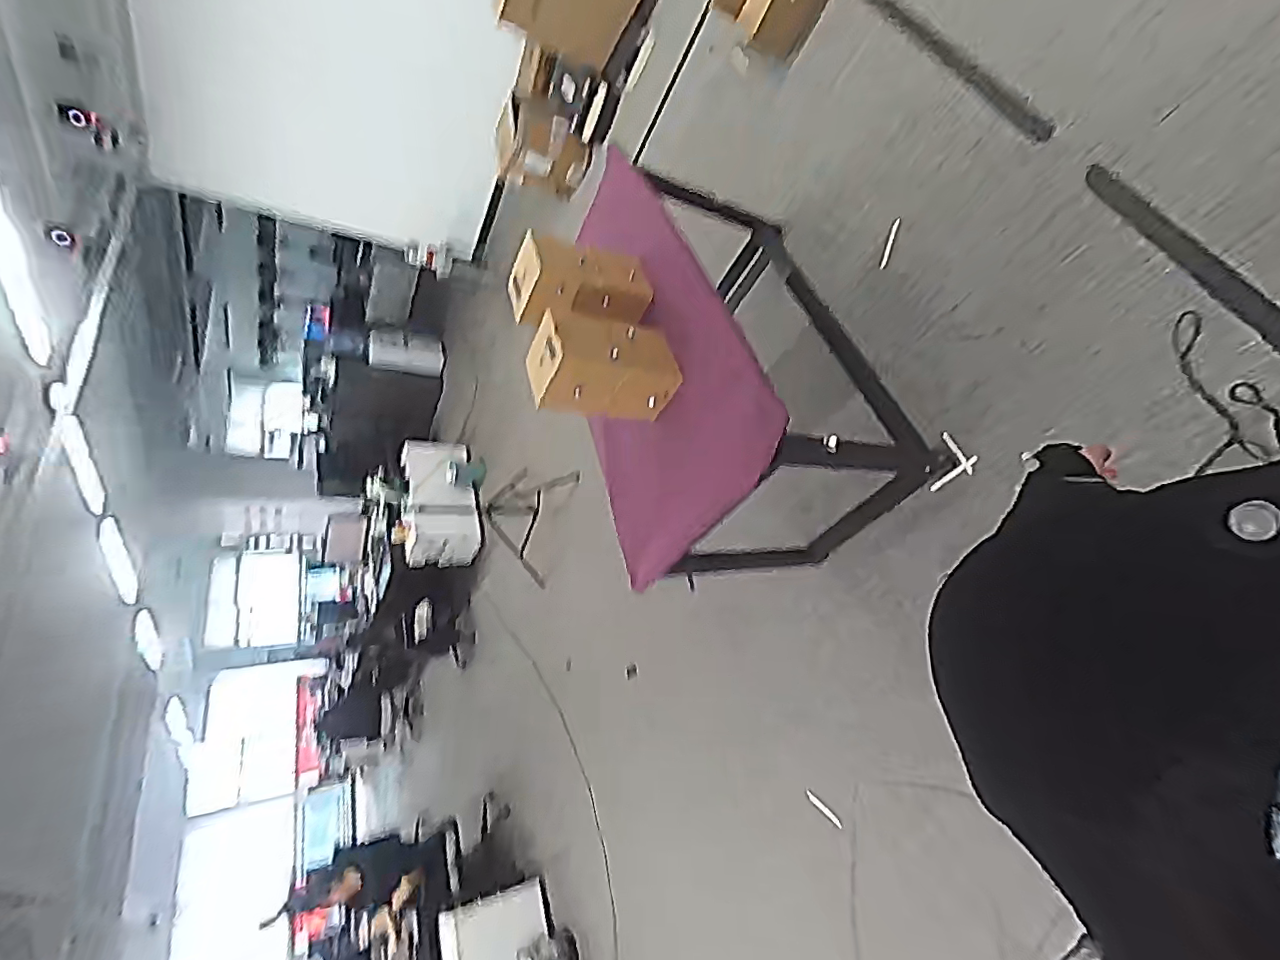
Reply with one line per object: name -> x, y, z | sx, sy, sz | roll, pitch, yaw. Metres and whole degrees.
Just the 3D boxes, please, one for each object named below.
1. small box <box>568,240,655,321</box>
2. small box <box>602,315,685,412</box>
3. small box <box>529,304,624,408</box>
small box -> -0.082, -0.536, 1.531 | 0.179, 0.176, 0.168 | -50, 49, 44
small box -> -0.011, -0.294, 1.404 | 0.168, 0.176, 0.179 | -50, 49, 44
small box -> -0.152, -0.296, 1.320 | 0.179, 0.176, 0.168 | -52, 47, 43
